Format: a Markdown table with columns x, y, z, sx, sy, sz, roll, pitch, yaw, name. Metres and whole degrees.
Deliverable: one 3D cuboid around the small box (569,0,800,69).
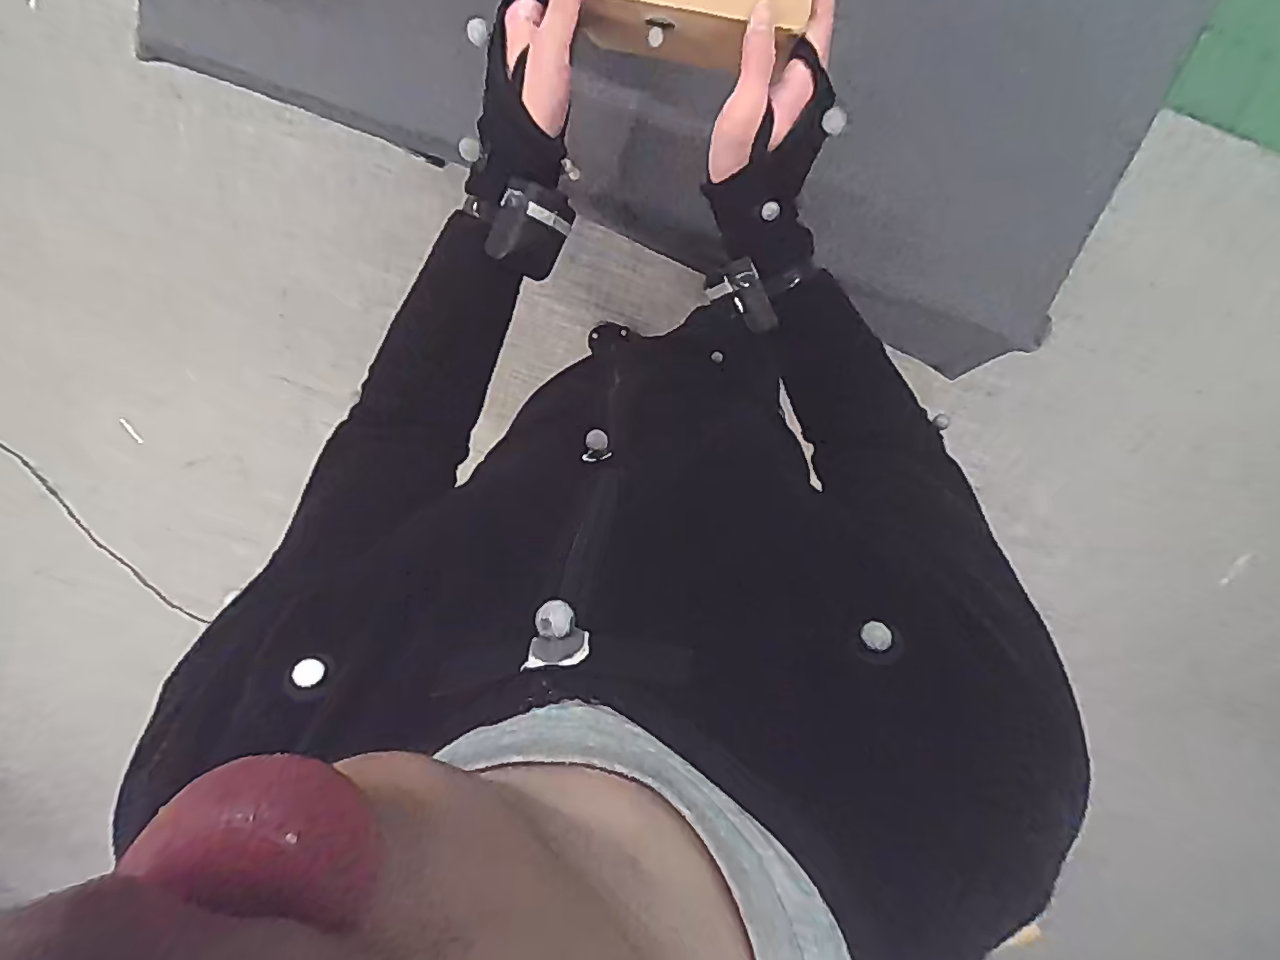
| x | y | z | sx | sy | sz | roll | pitch | yaw | name |
| --- | --- | --- | --- | --- | --- | --- | --- | --- | --- |
| 0.038 | -0.406 | 0.364 | 0.179 | 0.176 | 0.168 | 14 | 118 | 3 | small box |
